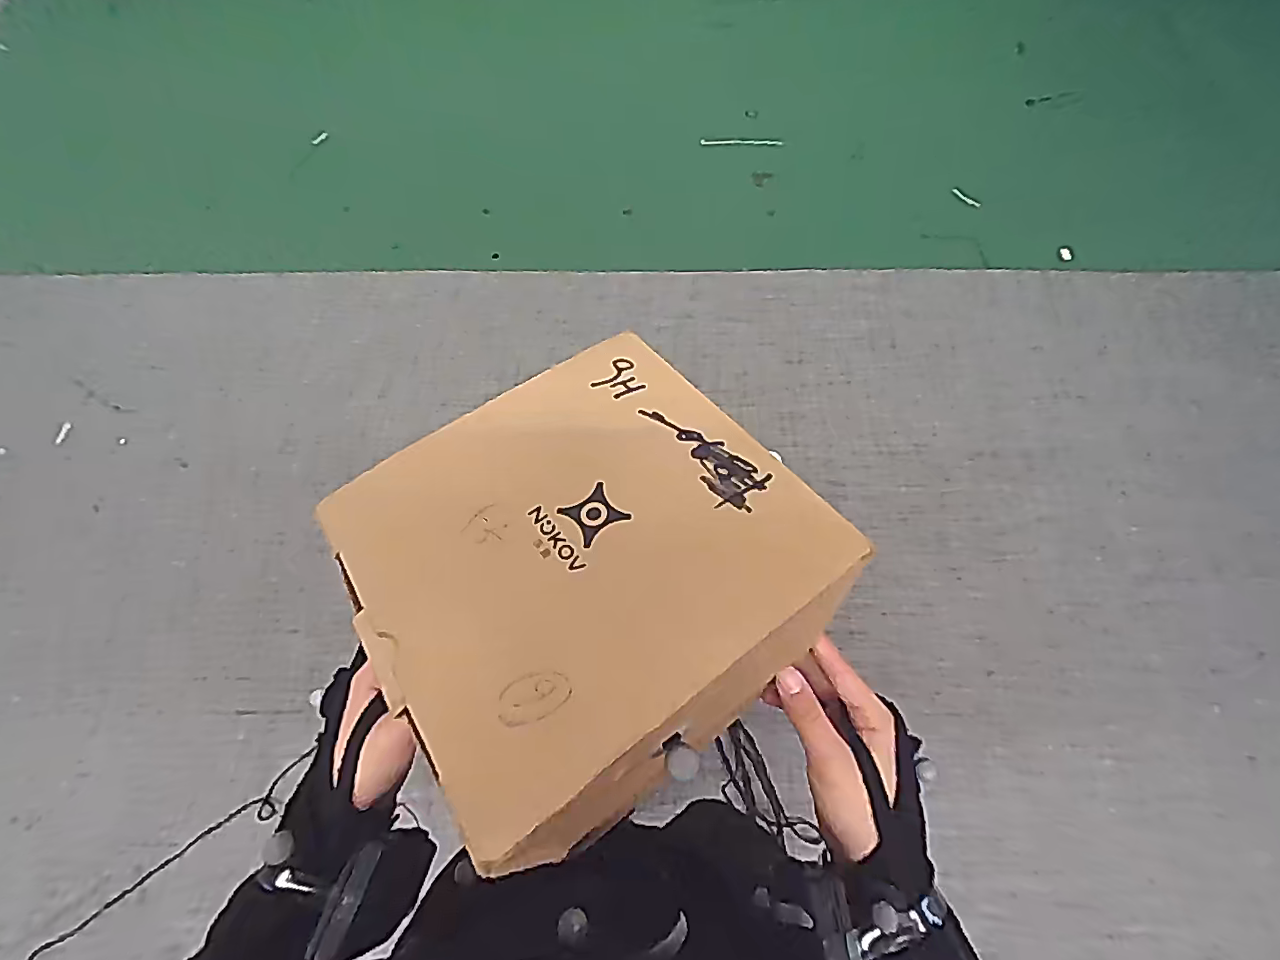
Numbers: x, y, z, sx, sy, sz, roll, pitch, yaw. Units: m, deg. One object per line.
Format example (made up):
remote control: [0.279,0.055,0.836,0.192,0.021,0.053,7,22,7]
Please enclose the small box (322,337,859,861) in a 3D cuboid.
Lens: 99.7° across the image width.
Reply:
small box: [-0.021,0.065,0.291,0.179,0.176,0.168,-33,60,-16]
